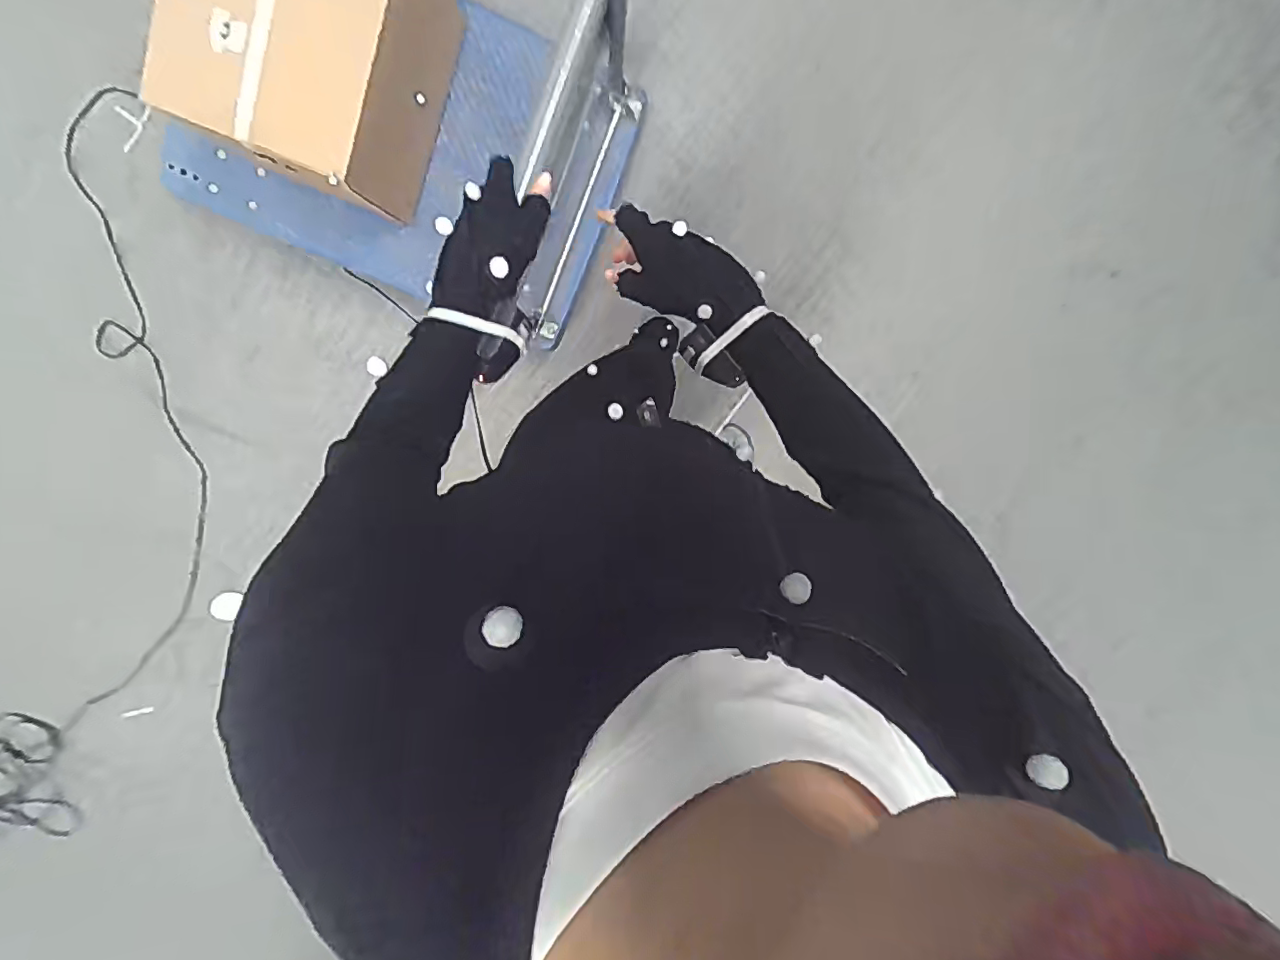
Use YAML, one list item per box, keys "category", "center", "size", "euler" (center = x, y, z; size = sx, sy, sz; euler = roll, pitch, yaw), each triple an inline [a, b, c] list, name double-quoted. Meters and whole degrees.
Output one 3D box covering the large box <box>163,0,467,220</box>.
- category: "large box"
  center: [-0.536, -0.745, 0.953]
  size: [0.320, 0.320, 0.408]
  euler: [19, 102, -7]
